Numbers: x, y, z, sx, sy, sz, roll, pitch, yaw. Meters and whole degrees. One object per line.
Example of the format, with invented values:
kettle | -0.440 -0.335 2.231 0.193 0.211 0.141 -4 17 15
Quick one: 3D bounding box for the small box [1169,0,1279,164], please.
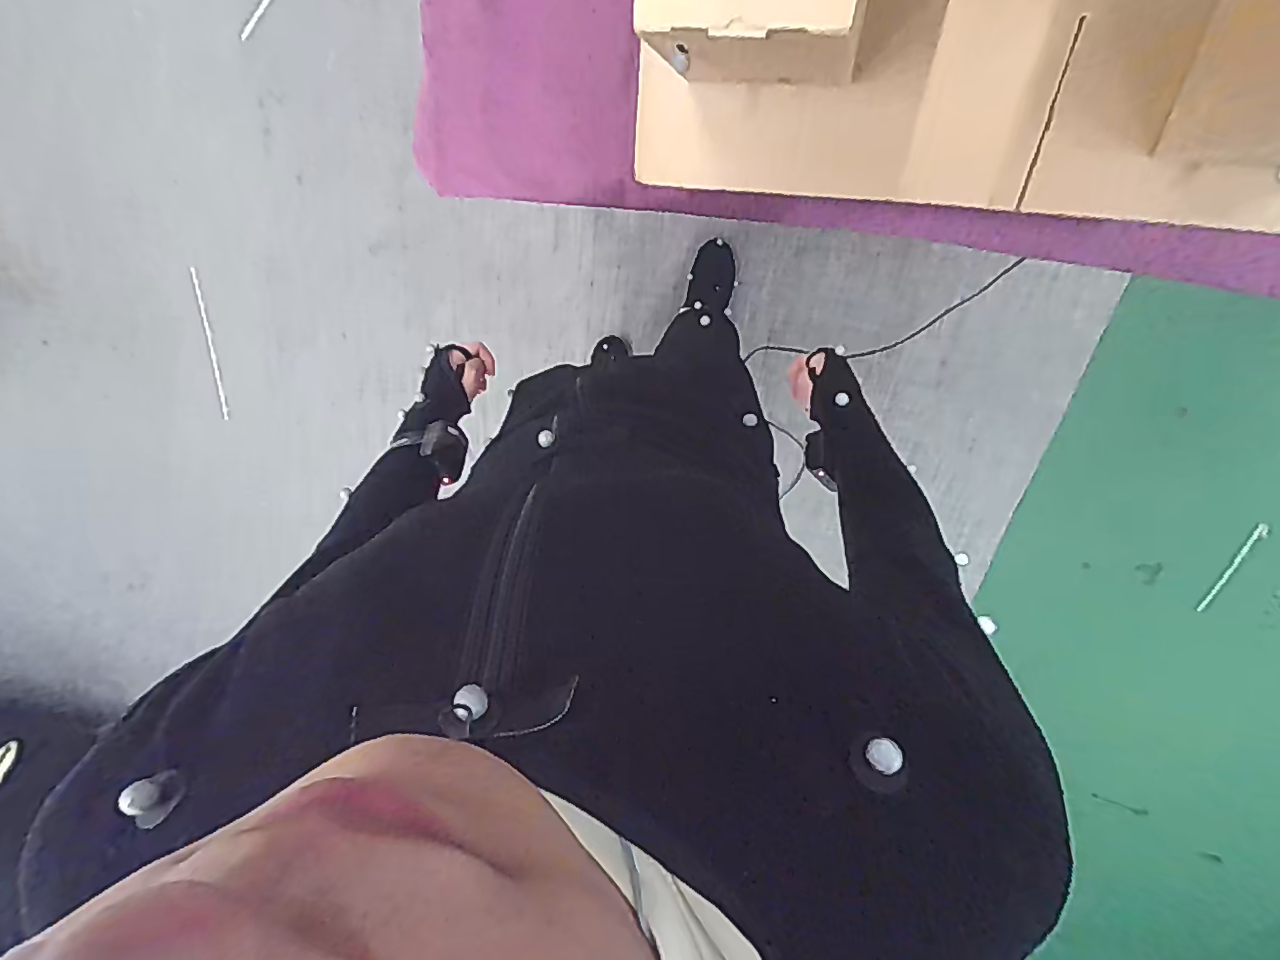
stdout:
small box | 0.566 -0.345 0.398 0.168 0.176 0.179 5 116 1
